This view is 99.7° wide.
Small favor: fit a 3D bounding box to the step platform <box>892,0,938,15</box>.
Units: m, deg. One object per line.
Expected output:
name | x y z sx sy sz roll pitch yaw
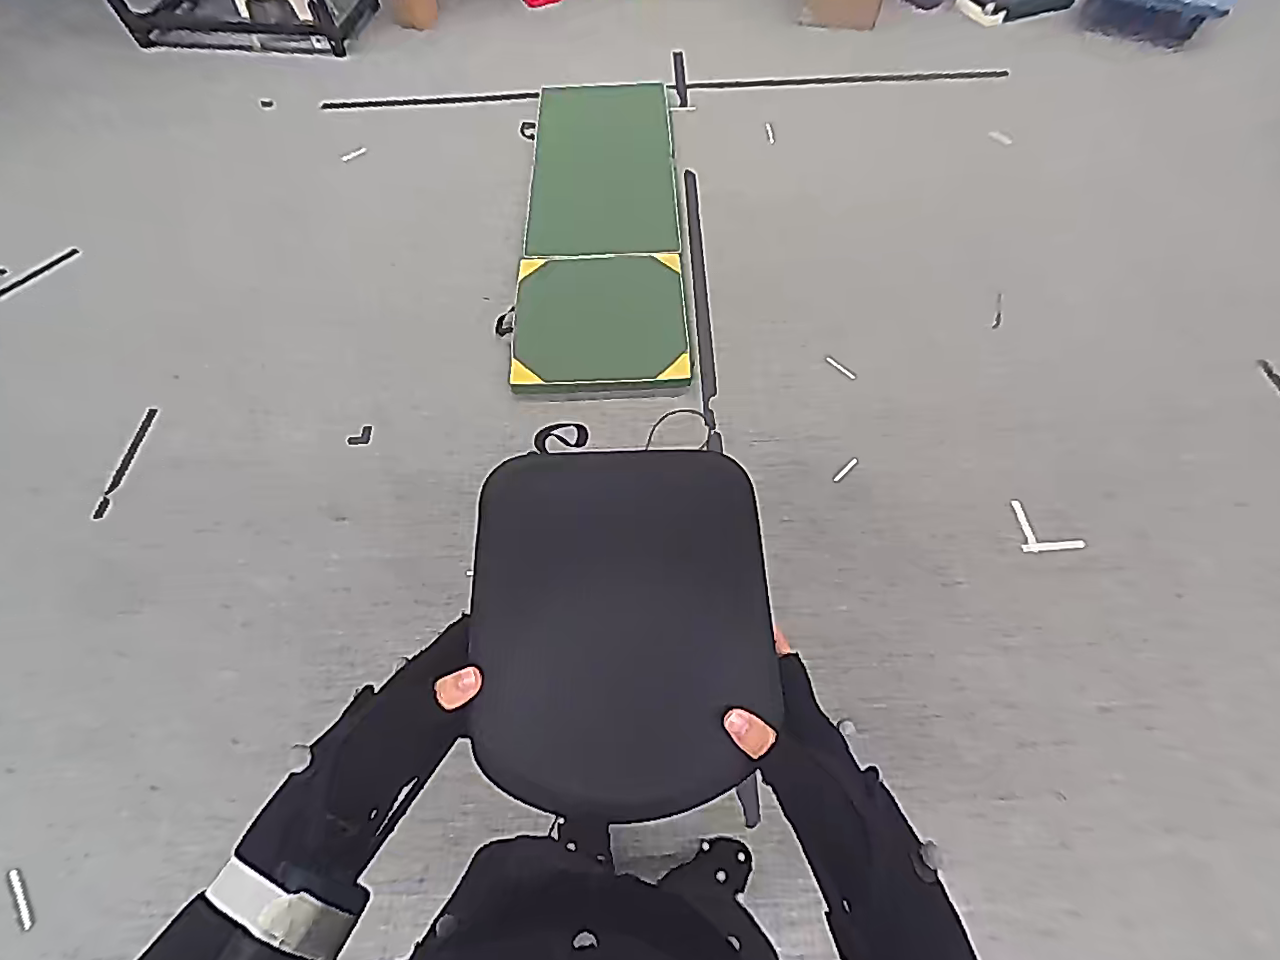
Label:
step platform | 1.756 -2.830 3.004 0.684 0.204 0.286 -28 65 -13
